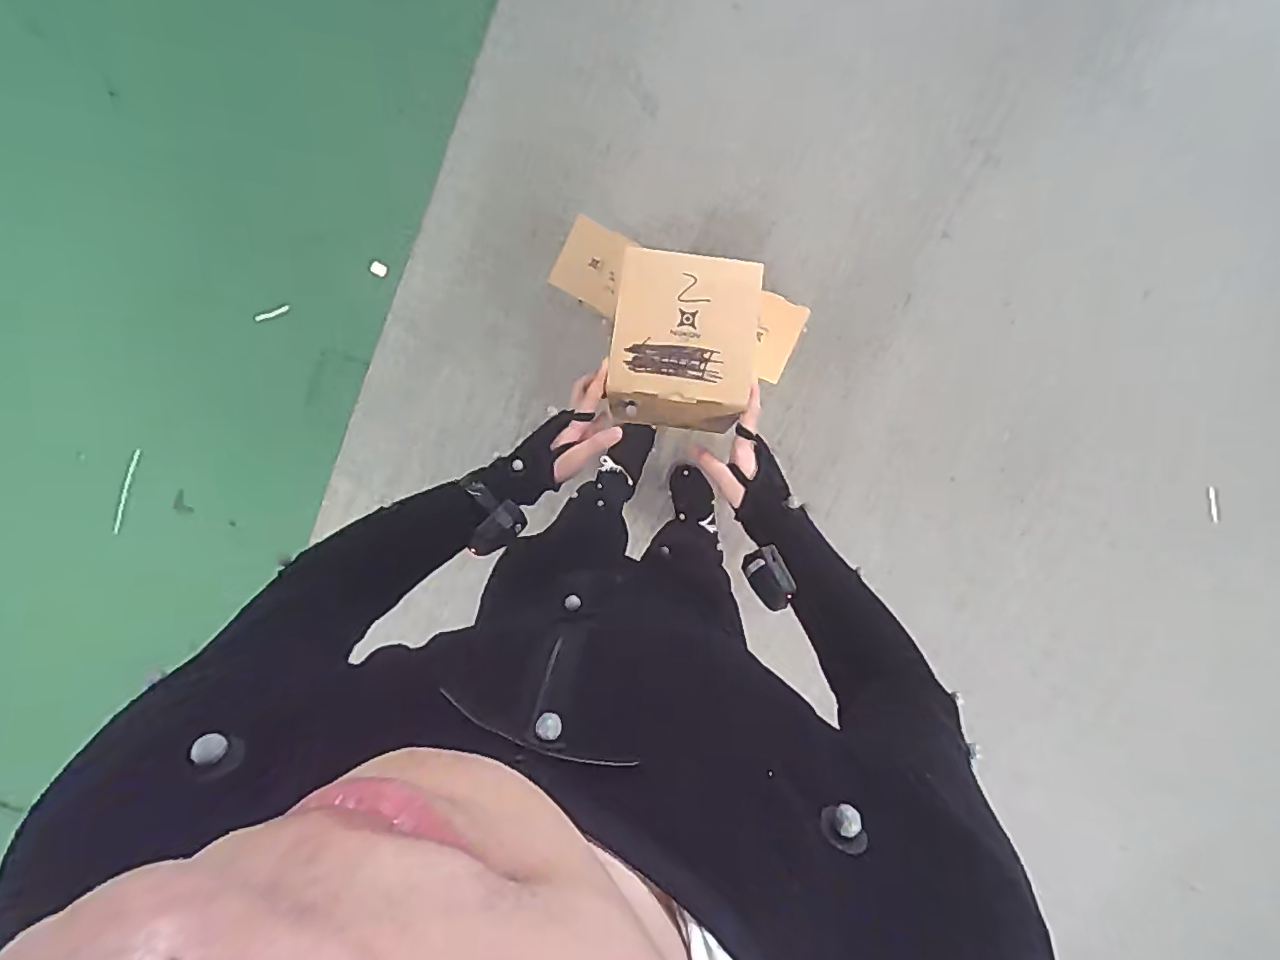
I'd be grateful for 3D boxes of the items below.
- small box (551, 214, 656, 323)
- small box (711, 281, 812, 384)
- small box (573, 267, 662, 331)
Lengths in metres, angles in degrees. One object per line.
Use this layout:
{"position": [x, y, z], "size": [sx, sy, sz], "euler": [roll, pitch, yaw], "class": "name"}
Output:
{"position": [-0.078, -0.486, 1.273], "size": [0.179, 0.176, 0.168], "euler": [30, 102, 1], "class": "small box"}
{"position": [0.276, -0.332, 1.257], "size": [0.168, 0.176, 0.179], "euler": [23, 101, 3], "class": "small box"}
{"position": [-0.052, -0.509, 1.435], "size": [0.179, 0.176, 0.168], "euler": [28, 101, 1], "class": "small box"}
